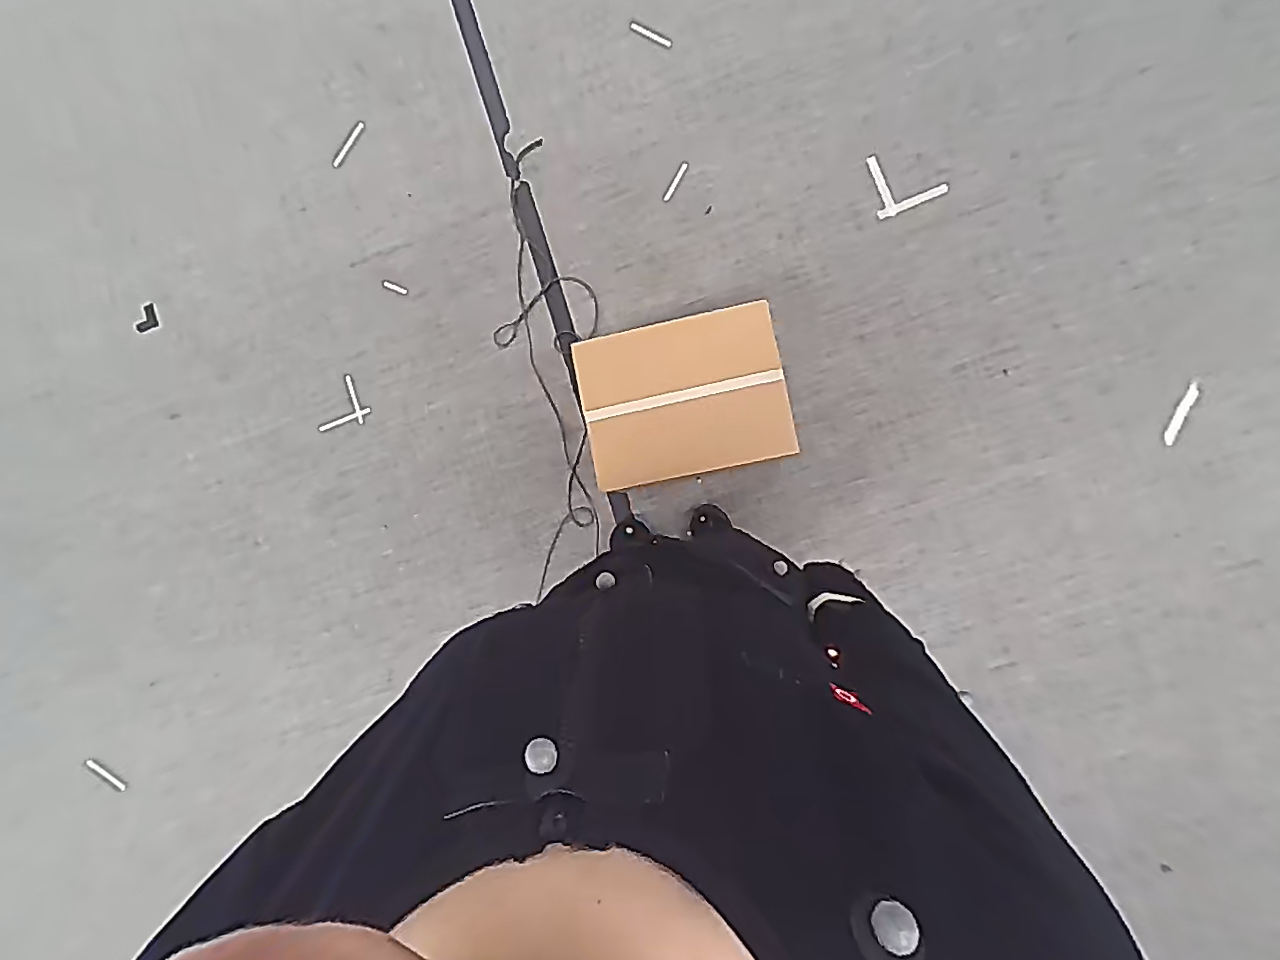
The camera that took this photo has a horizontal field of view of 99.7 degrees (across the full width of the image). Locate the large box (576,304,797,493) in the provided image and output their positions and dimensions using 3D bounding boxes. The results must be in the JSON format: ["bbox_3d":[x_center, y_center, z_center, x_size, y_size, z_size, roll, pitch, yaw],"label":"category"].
[{"bbox_3d":[0.102,-0.159,1.236,0.408,0.320,0.320,-11,88,5],"label":"large box"}]
